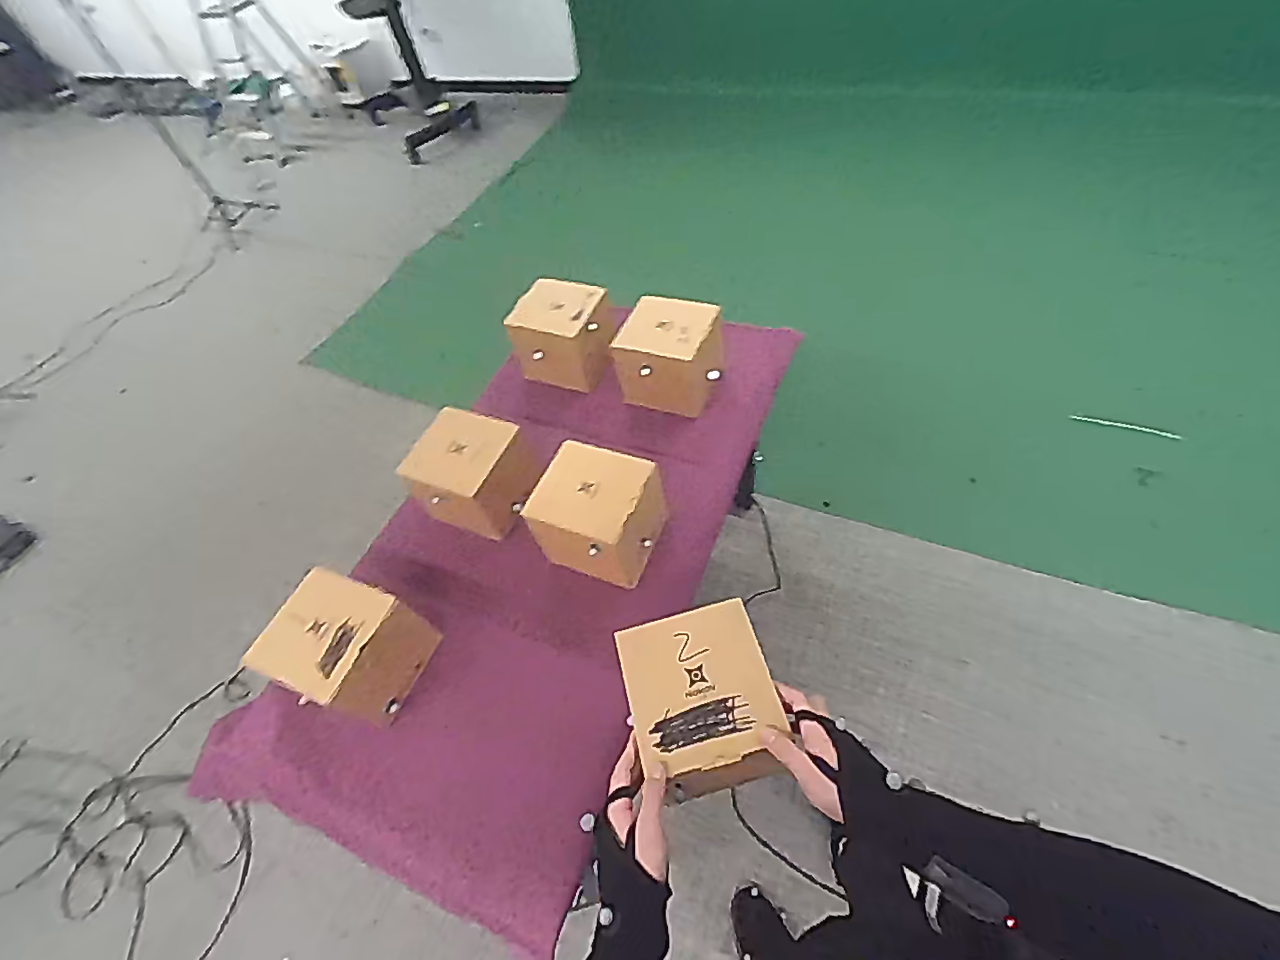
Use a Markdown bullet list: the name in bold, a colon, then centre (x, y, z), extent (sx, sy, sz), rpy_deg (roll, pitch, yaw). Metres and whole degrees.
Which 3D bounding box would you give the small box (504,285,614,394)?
- **small box**: centre (-0.176, -0.320, 1.245), extent (0.179, 0.176, 0.168), rpy_deg (15, 59, 19)

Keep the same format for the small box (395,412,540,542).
- **small box**: centre (-0.322, -0.002, 1.045), extent (0.179, 0.176, 0.168), rpy_deg (16, 60, 19)

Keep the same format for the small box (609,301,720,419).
- **small box**: centre (0.060, -0.253, 1.153), extent (0.179, 0.176, 0.168), rpy_deg (16, 60, 21)

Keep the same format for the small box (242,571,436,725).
- **small box**: centre (-0.465, 0.275, 0.868), extent (0.179, 0.176, 0.168), rpy_deg (14, 58, 19)
